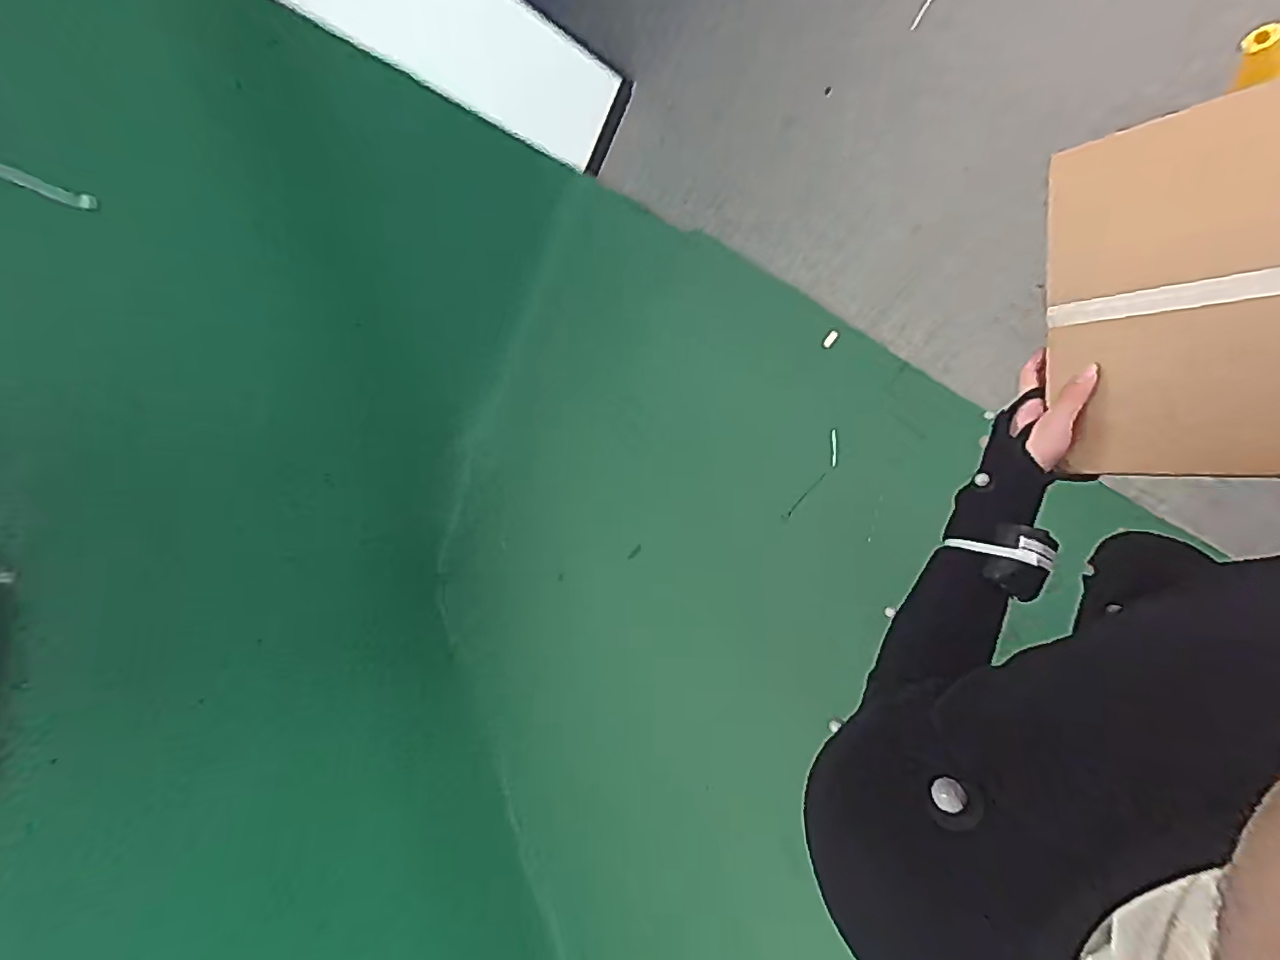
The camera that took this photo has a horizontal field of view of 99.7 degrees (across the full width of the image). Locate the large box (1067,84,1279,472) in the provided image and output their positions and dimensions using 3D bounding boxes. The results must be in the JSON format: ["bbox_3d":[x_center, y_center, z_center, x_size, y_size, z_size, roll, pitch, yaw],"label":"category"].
[{"bbox_3d":[0.669,-0.170,0.493,0.408,0.320,0.320,2,95,48],"label":"large box"}]
